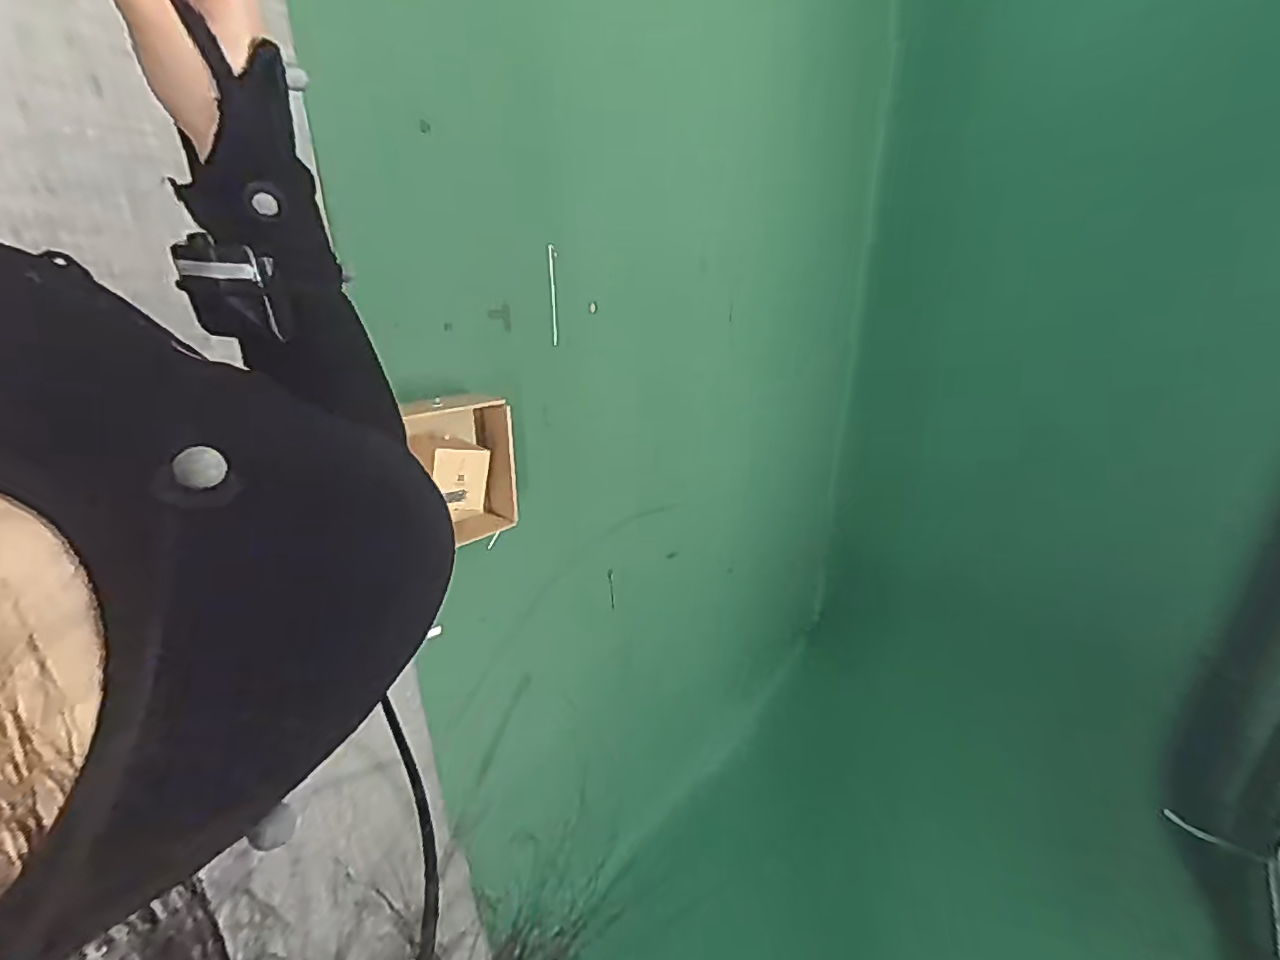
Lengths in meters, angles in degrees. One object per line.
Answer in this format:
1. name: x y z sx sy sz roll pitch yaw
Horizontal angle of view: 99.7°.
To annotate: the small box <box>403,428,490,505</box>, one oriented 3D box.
1. small box: -0.548 -0.039 1.519 0.168 0.176 0.179 0 105 -48
